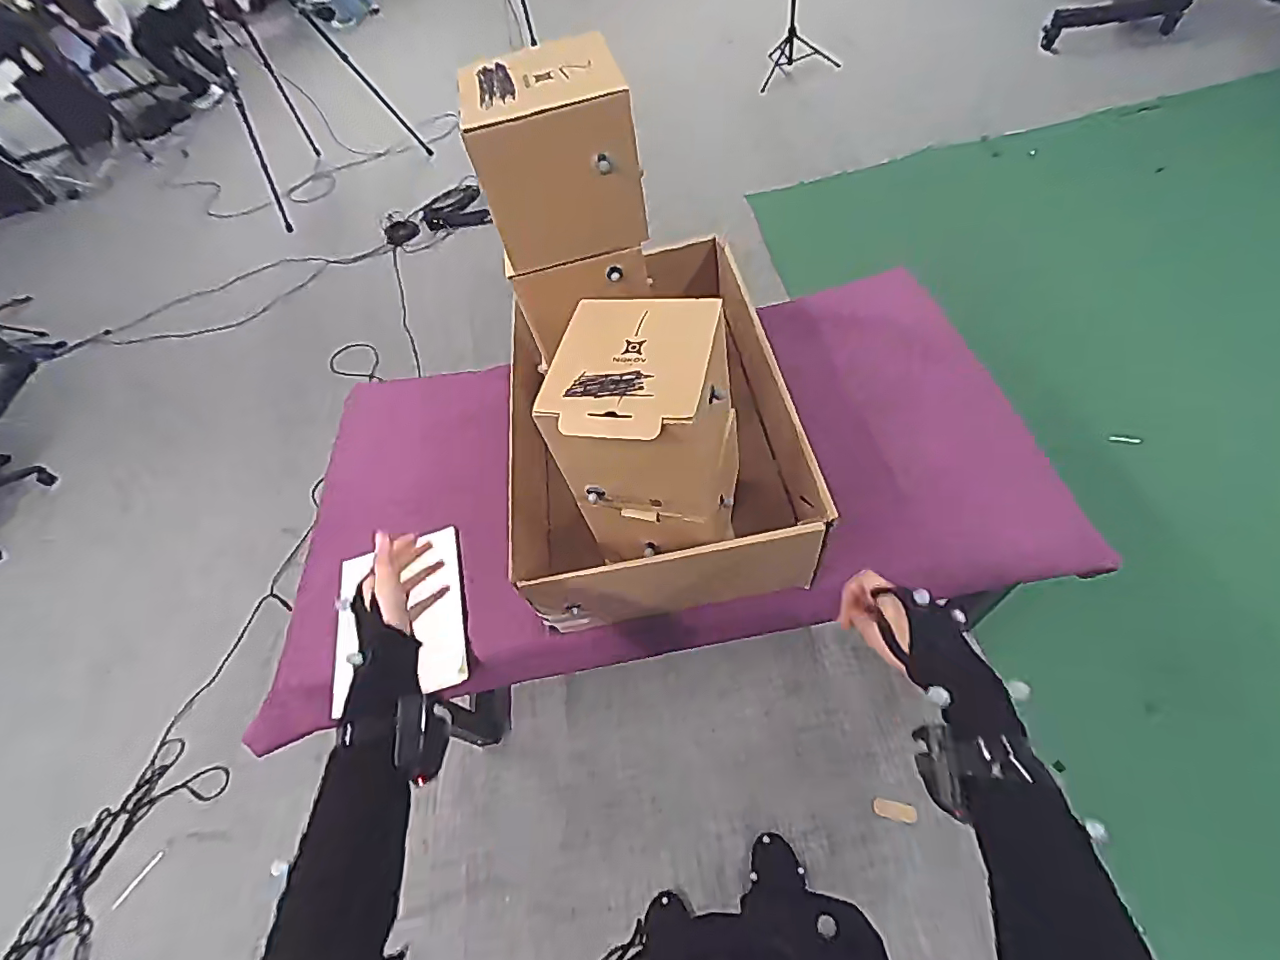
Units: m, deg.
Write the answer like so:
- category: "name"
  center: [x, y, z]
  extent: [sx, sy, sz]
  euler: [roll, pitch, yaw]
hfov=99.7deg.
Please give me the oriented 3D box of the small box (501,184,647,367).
- category: "small box"
  center: [-0.087, -0.288, 0.784]
  extent: [0.179, 0.176, 0.168]
  euler: [-13, 56, 2]

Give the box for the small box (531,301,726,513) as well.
- category: "small box"
  center: [0.003, -0.080, 0.616]
  extent: [0.168, 0.176, 0.179]
  euler: [5, 56, 16]
